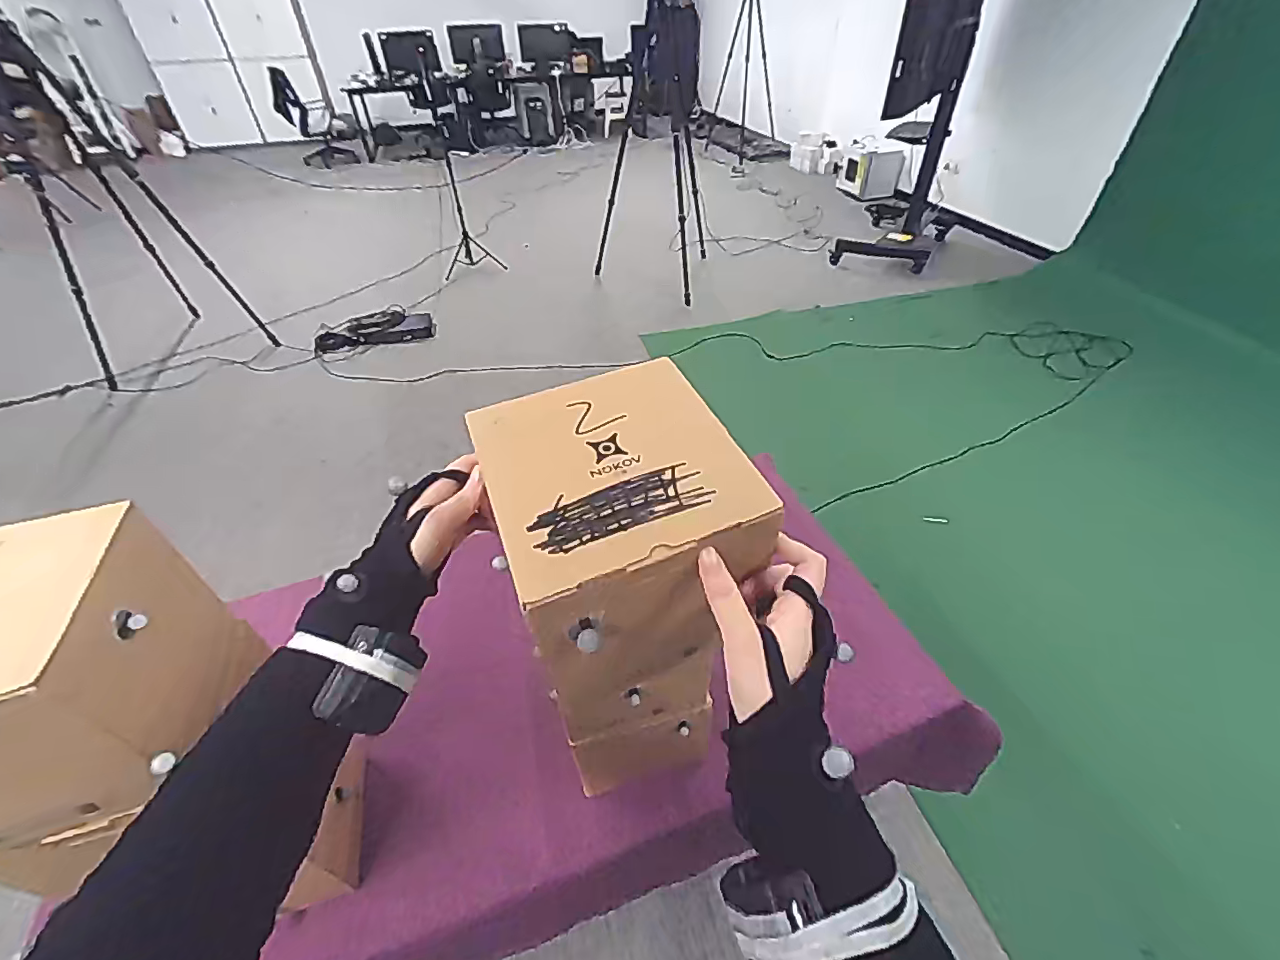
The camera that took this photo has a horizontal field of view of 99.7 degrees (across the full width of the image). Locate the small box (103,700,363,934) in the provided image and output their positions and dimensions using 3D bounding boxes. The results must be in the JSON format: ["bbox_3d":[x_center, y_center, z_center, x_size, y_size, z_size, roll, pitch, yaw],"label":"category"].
[{"bbox_3d":[-0.448,0.395,0.639,0.179,0.176,0.168,-13,43,-12],"label":"small box"}]

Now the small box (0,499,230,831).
[{"bbox_3d":[-0.465,0.147,0.424,0.168,0.176,0.179,-14,42,-13],"label":"small box"}]

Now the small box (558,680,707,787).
[{"bbox_3d":[-0.019,0.288,0.738,0.179,0.176,0.168,-12,43,-11],"label":"small box"}]

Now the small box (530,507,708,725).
[{"bbox_3d":[-0.026,0.162,0.631,0.168,0.176,0.179,-10,43,-10],"label":"small box"}]

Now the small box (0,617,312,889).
[{"bbox_3d":[-0.453,0.271,0.533,0.168,0.176,0.179,-12,43,-11],"label":"small box"}]
